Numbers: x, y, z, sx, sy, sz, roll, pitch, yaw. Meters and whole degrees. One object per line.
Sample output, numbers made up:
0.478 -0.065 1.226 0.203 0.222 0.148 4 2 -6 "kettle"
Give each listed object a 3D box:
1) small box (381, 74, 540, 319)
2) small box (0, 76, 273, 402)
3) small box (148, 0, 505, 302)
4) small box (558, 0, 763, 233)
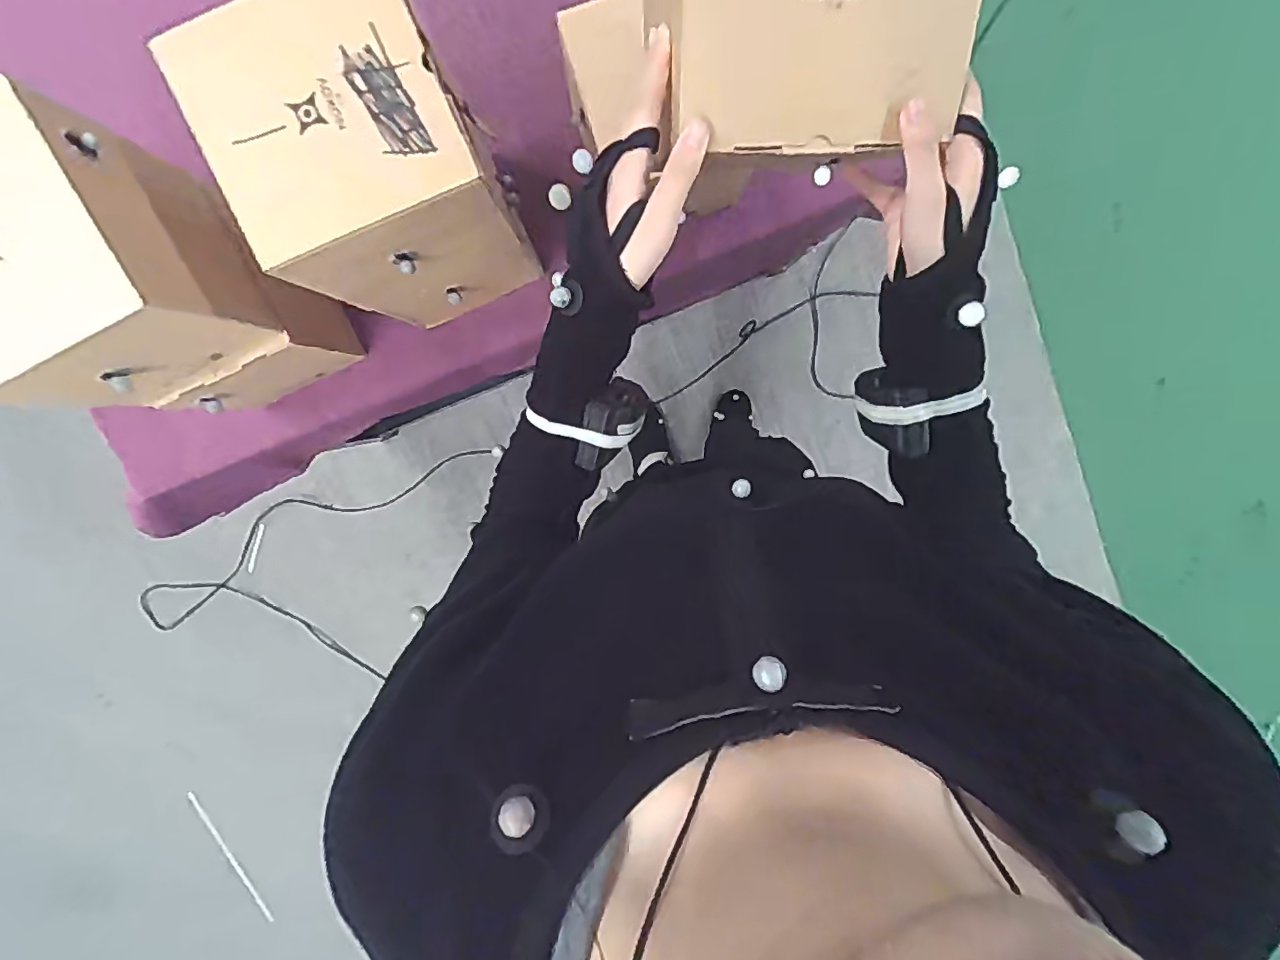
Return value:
-0.235 -0.300 0.617 0.179 0.176 0.168 -24 99 2 "small box"
-0.472 -0.181 0.465 0.168 0.176 0.179 -27 97 3 "small box"
-0.229 -0.270 0.455 0.179 0.176 0.168 -22 98 2 "small box"
0.019 -0.409 0.606 0.168 0.176 0.179 -17 98 2 "small box"
